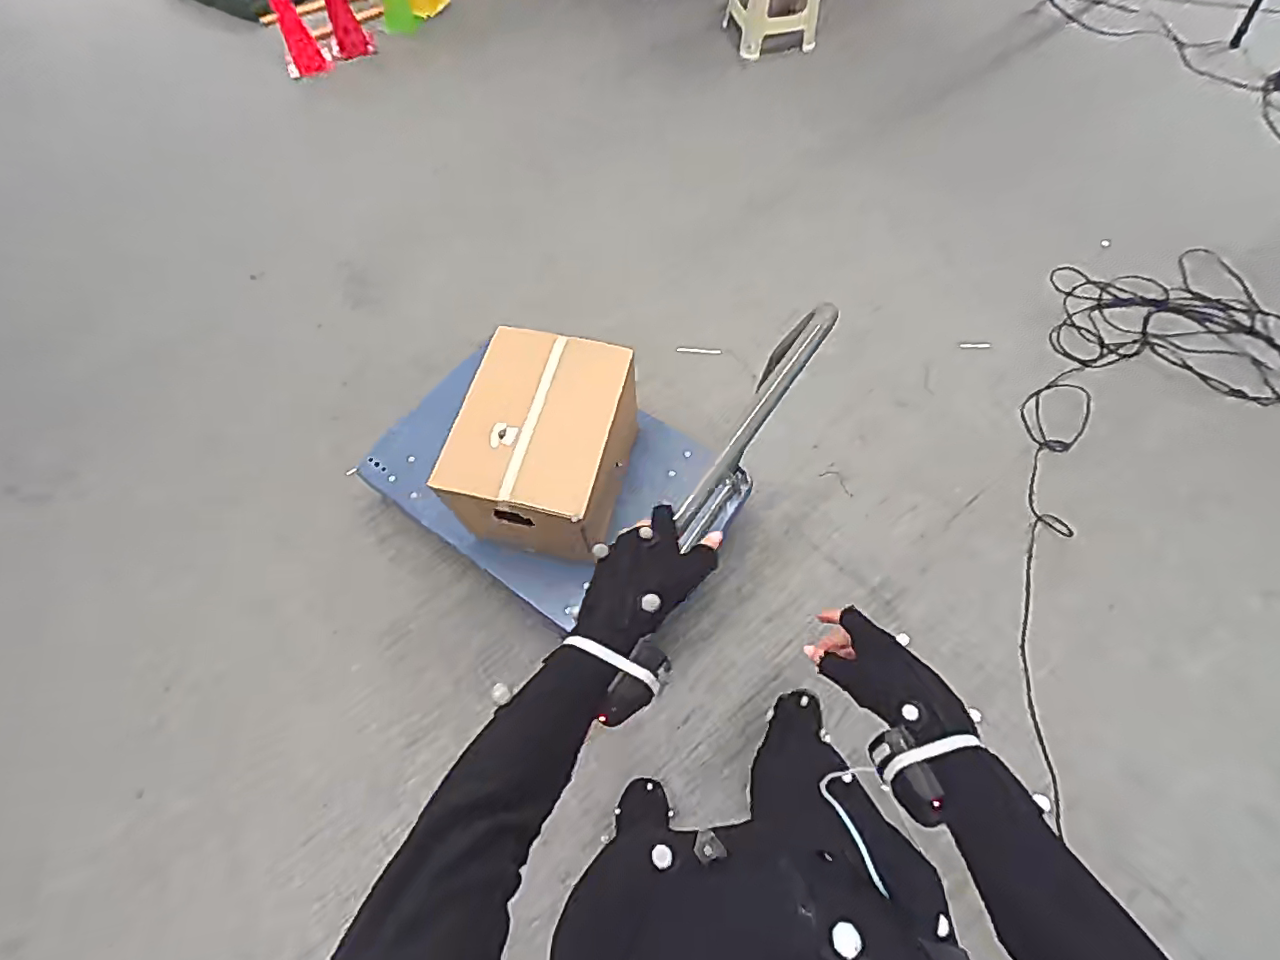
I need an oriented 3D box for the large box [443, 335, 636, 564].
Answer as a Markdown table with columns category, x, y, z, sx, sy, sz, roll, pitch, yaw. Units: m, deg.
| category | x | y | z | sx | sy | sz | roll | pitch | yaw |
| --- | --- | --- | --- | --- | --- | --- | --- | --- | --- |
| large box | -0.196 | -0.061 | 1.247 | 0.320 | 0.320 | 0.408 | 10 | 67 | 7 |
